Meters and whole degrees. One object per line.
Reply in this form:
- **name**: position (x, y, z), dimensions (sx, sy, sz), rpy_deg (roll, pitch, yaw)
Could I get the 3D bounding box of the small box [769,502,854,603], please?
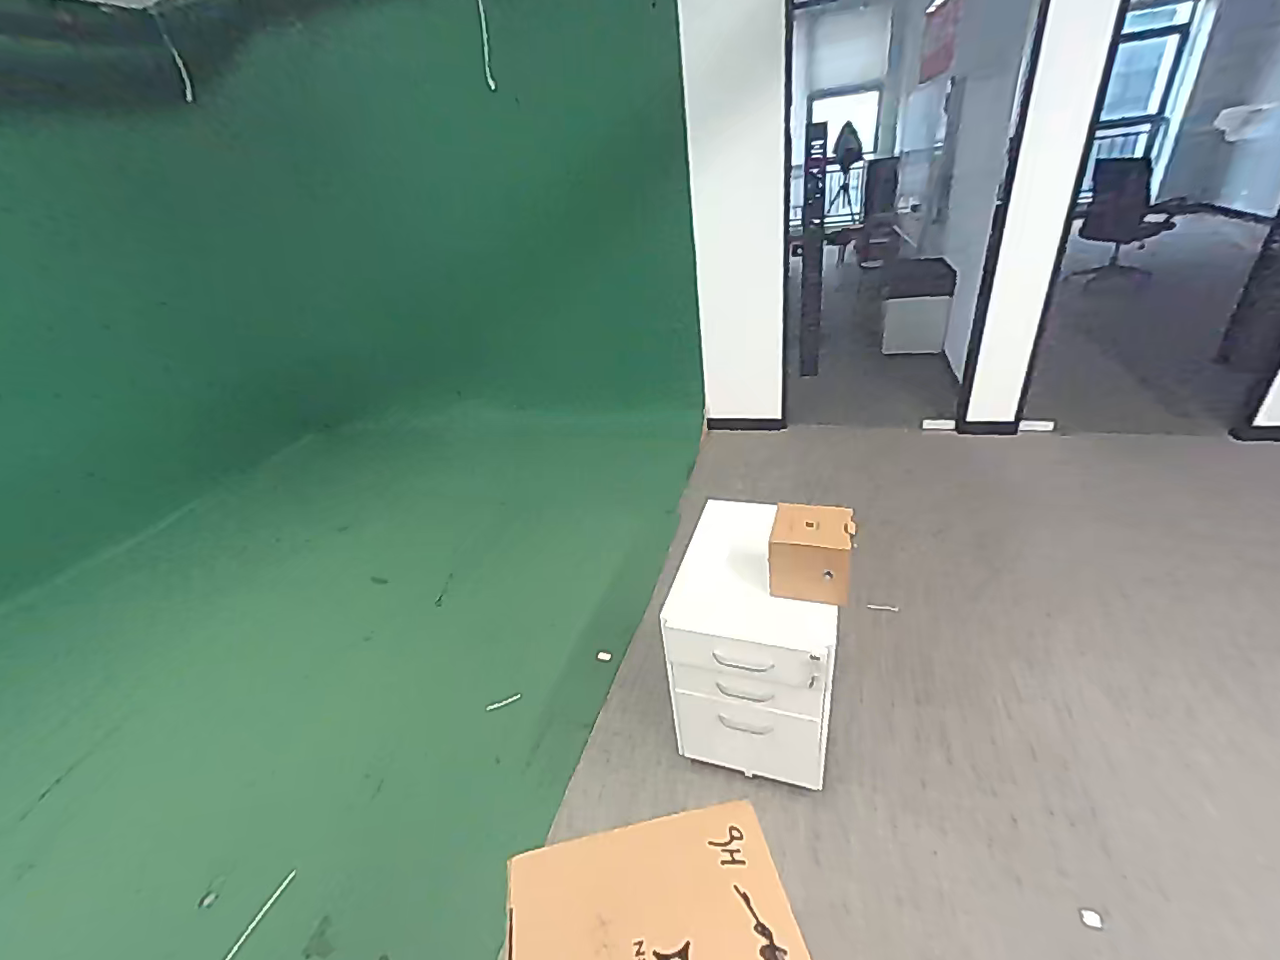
- **small box**: position (0.408, 0.172, 1.282), dimensions (0.179, 0.176, 0.168), rpy_deg (3, 31, 21)
